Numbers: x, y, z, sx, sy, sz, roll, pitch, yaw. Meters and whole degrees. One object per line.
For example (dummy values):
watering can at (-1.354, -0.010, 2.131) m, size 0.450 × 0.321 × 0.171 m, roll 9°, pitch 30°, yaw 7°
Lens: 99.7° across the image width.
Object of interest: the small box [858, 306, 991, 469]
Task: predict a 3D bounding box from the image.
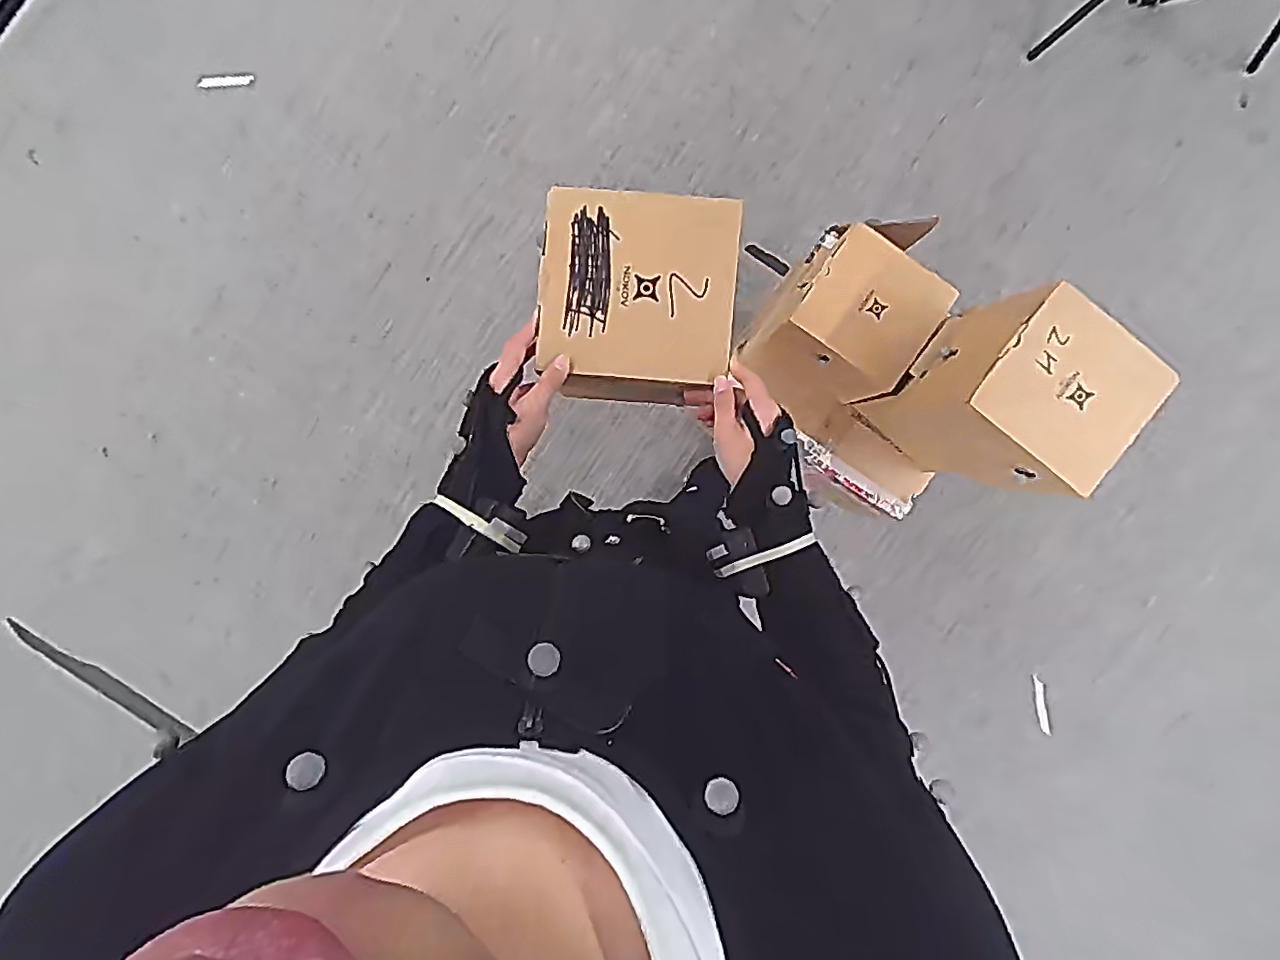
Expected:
small box at (0.470, -0.125, 0.816) m, size 0.179 × 0.176 × 0.168 m, roll 41°, pitch 92°, yaw -4°

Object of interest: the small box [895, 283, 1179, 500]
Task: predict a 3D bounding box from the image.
small box at (0.457, -0.099, 0.652) m, size 0.179 × 0.176 × 0.168 m, roll 38°, pitch 91°, yaw -3°
